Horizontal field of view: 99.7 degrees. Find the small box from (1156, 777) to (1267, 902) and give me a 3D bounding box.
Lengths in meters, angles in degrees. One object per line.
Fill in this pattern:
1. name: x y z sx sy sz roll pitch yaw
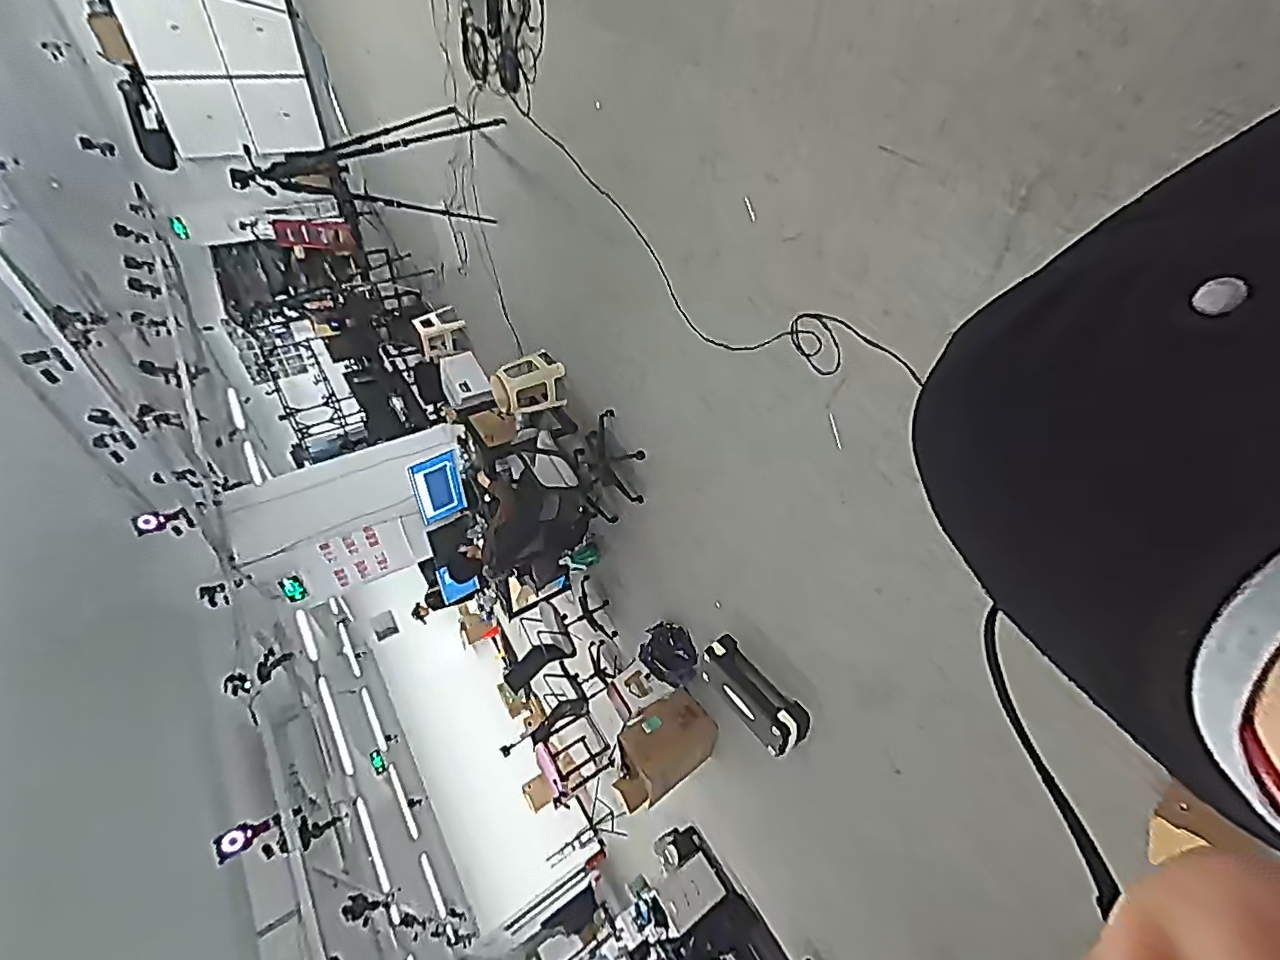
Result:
1. small box: 1.498 0.931 1.419 0.168 0.176 0.179 14 126 59
